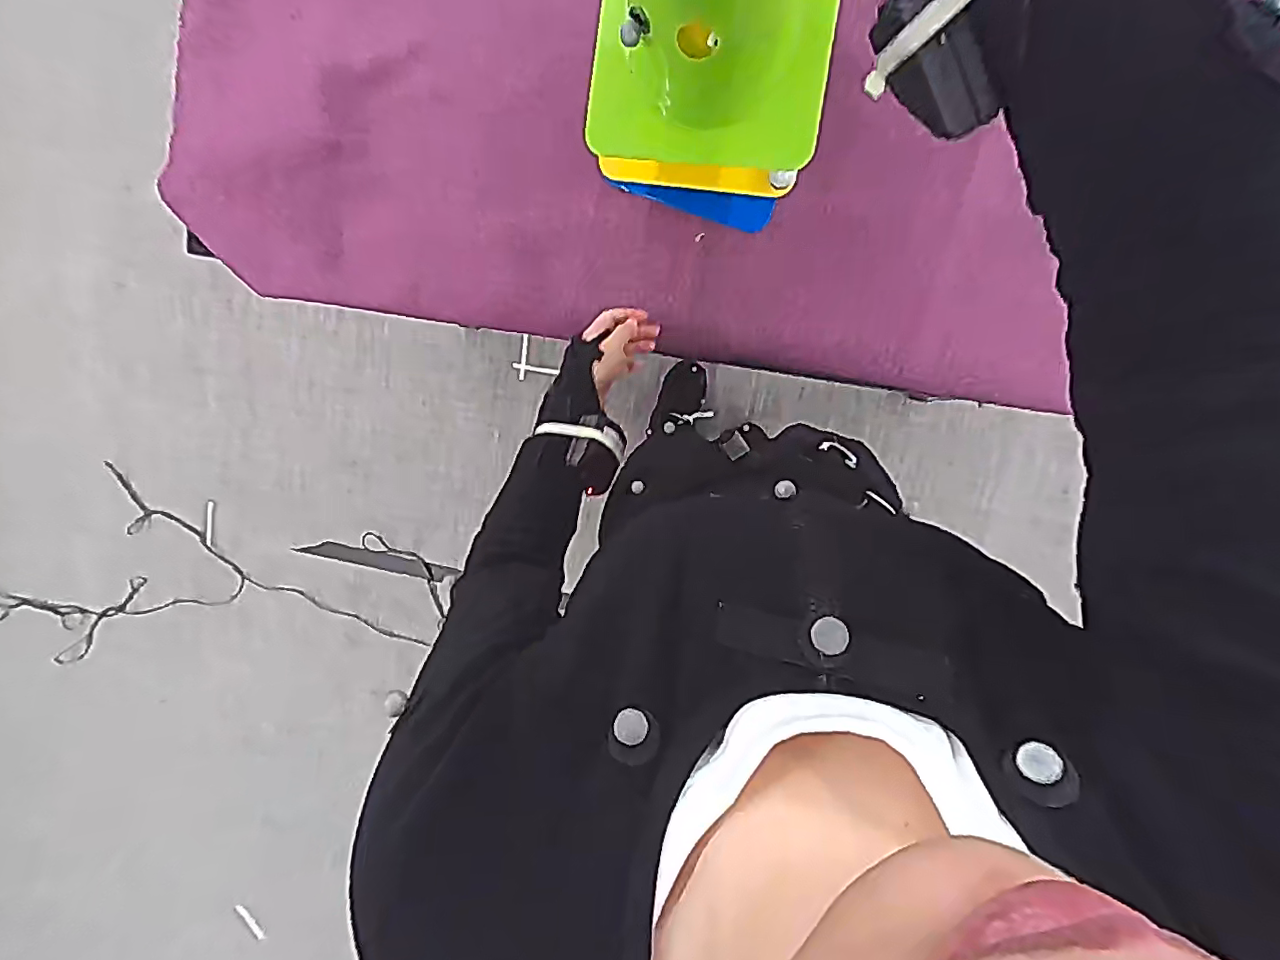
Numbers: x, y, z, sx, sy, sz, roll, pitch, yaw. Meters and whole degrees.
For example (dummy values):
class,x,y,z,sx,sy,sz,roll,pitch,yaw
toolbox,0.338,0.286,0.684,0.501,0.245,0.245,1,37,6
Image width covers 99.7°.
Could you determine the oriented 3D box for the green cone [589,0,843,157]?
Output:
class,x,y,z,sx,sy,sz,roll,pitch,yaw
green cone,0.035,-0.360,0.279,0.200,0.368,0.202,8,97,8
